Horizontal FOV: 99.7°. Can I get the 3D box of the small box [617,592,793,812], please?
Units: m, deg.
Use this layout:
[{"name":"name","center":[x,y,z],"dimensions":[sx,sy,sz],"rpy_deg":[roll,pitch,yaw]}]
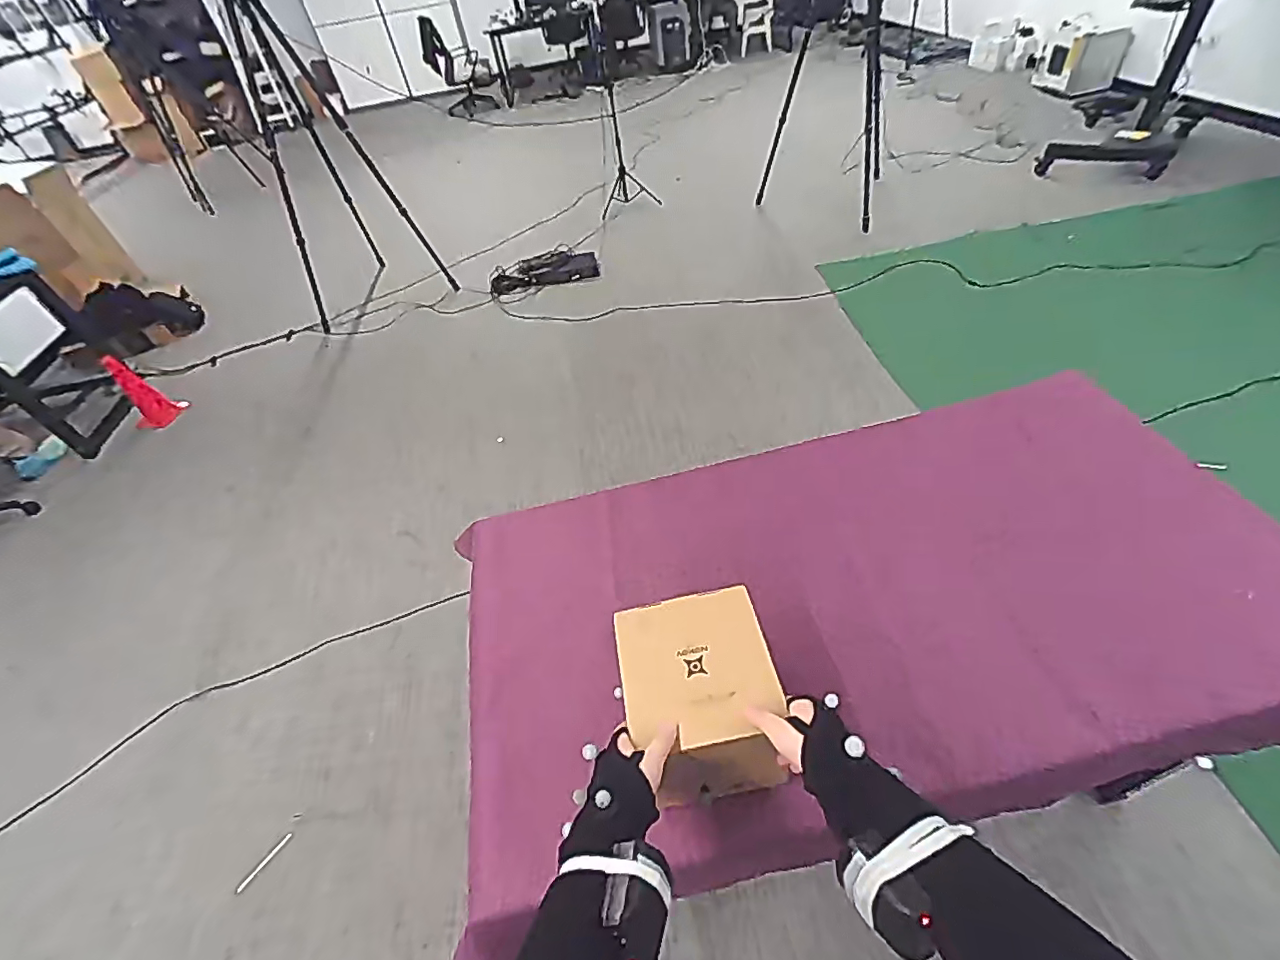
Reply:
[{"name":"small box","center":[0.072,0.265,0.648],"dimensions":[0.168,0.176,0.179],"rpy_deg":[-12,43,0]}]
